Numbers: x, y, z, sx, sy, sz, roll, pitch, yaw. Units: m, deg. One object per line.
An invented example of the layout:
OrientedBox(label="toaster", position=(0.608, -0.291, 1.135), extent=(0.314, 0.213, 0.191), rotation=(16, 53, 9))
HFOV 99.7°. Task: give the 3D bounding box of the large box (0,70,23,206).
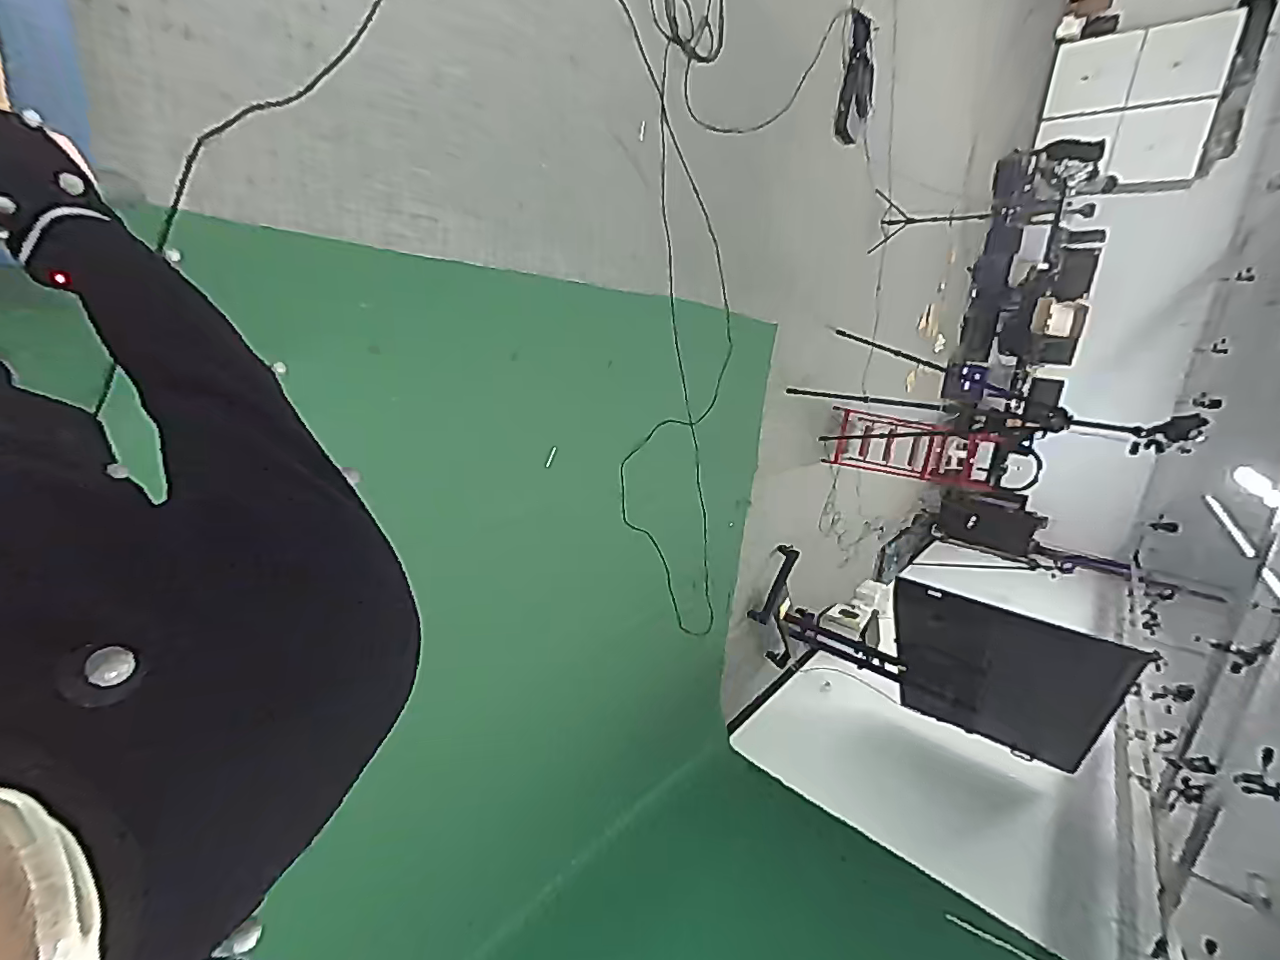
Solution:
OrientedBox(label="large box", position=(-1.032, -0.591, 0.655), extent=(0.320, 0.320, 0.408), rotation=(-14, 113, -48))
